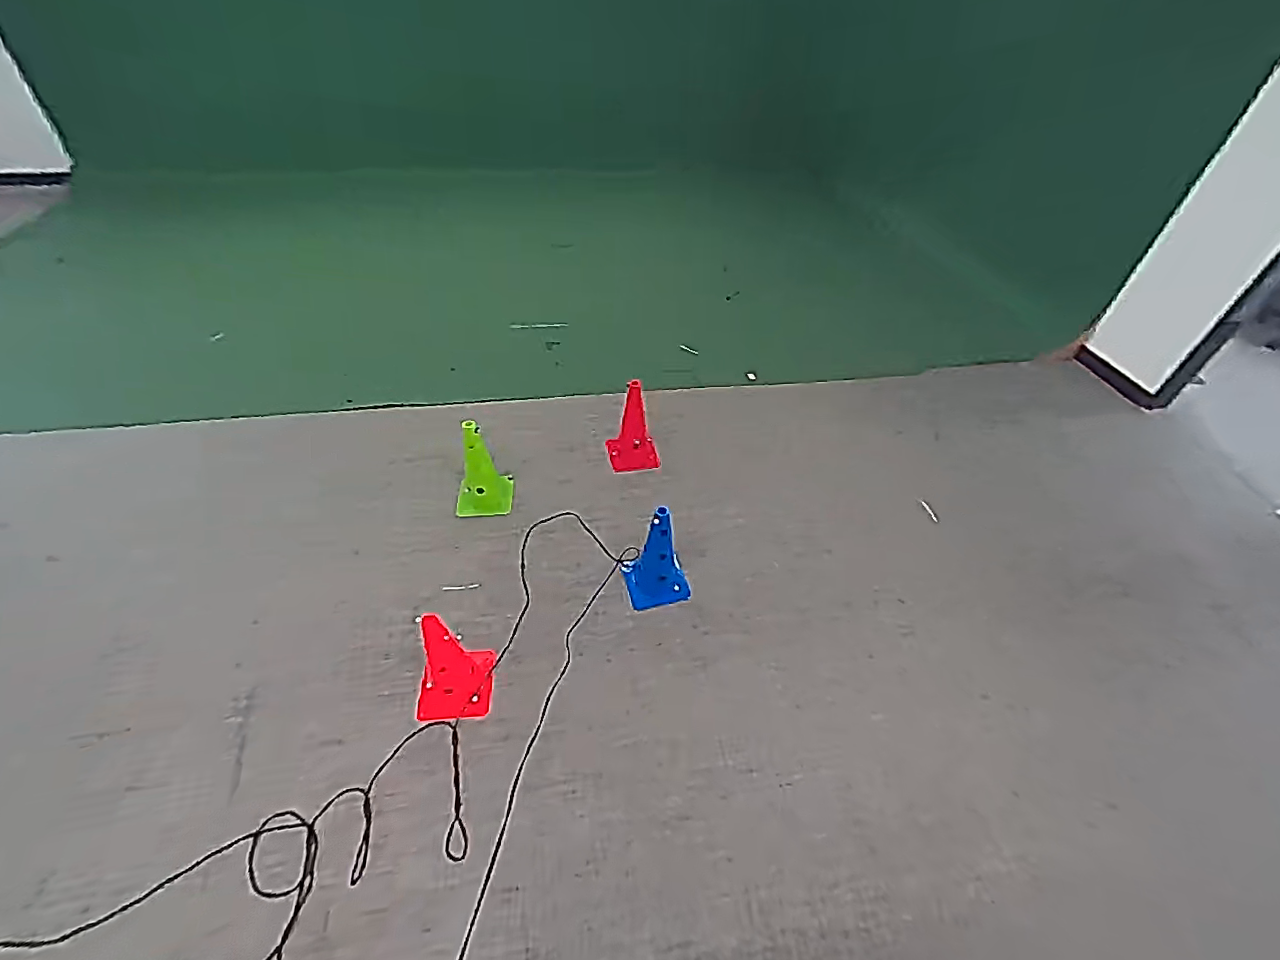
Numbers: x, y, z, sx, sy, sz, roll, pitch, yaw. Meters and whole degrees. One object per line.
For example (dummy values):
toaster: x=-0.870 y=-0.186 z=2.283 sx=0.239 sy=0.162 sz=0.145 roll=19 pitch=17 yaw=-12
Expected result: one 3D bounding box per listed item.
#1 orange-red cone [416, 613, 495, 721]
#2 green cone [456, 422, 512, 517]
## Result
orange-red cone: x=-0.509 y=0.458 z=1.414 sx=0.198 sy=0.360 sz=0.199 roll=-1 pitch=44 yaw=-5
green cone: x=-0.582 y=-0.061 z=1.925 sx=0.200 sy=0.368 sz=0.202 roll=-4 pitch=46 yaw=-6
